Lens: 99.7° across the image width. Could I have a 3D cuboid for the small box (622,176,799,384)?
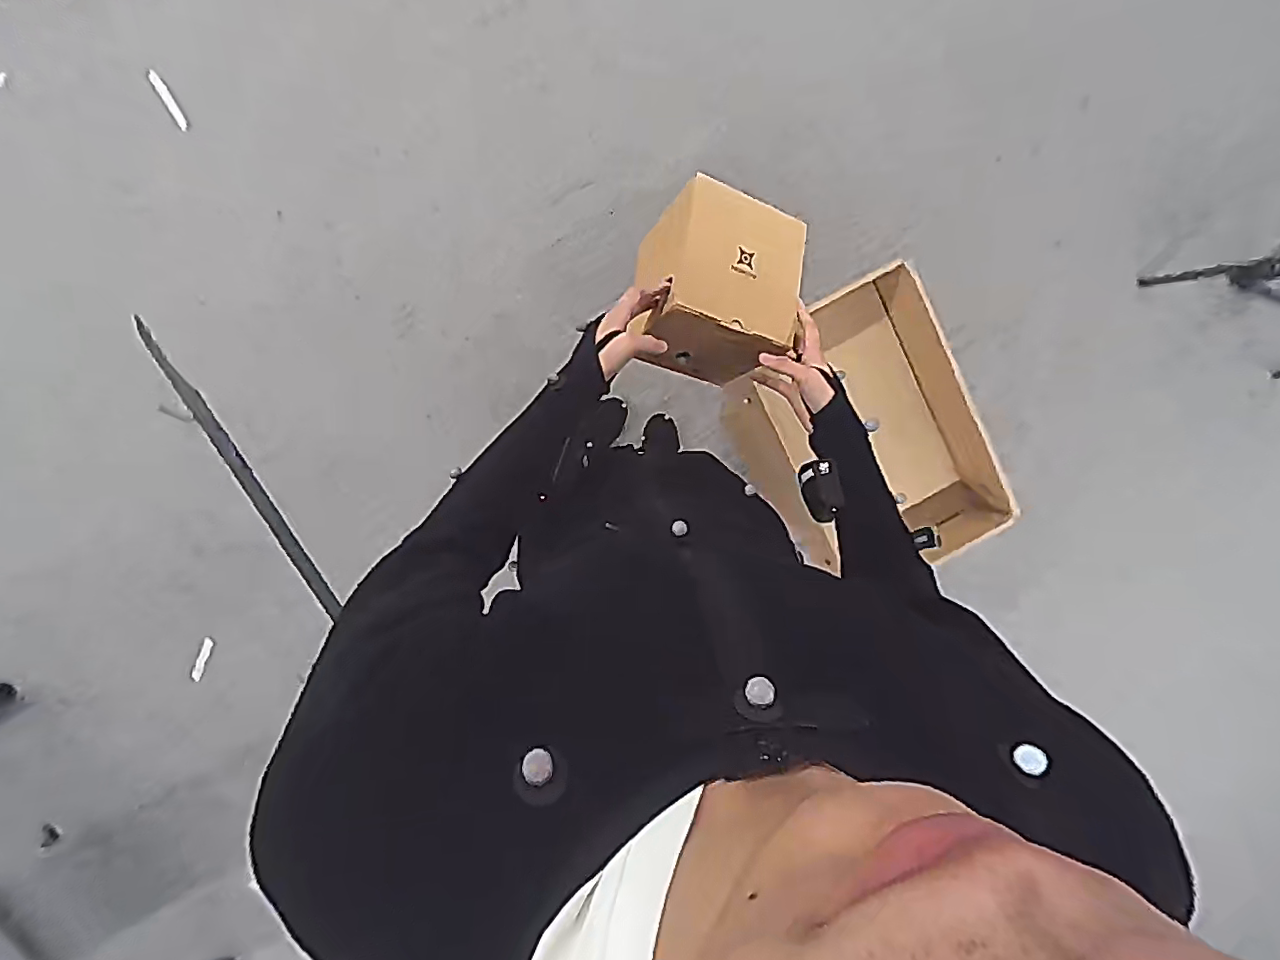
[{"bbox_3d":[0.087,-0.248,0.717,0.168,0.176,0.179,12,79,-21],"label":"small box"}]
